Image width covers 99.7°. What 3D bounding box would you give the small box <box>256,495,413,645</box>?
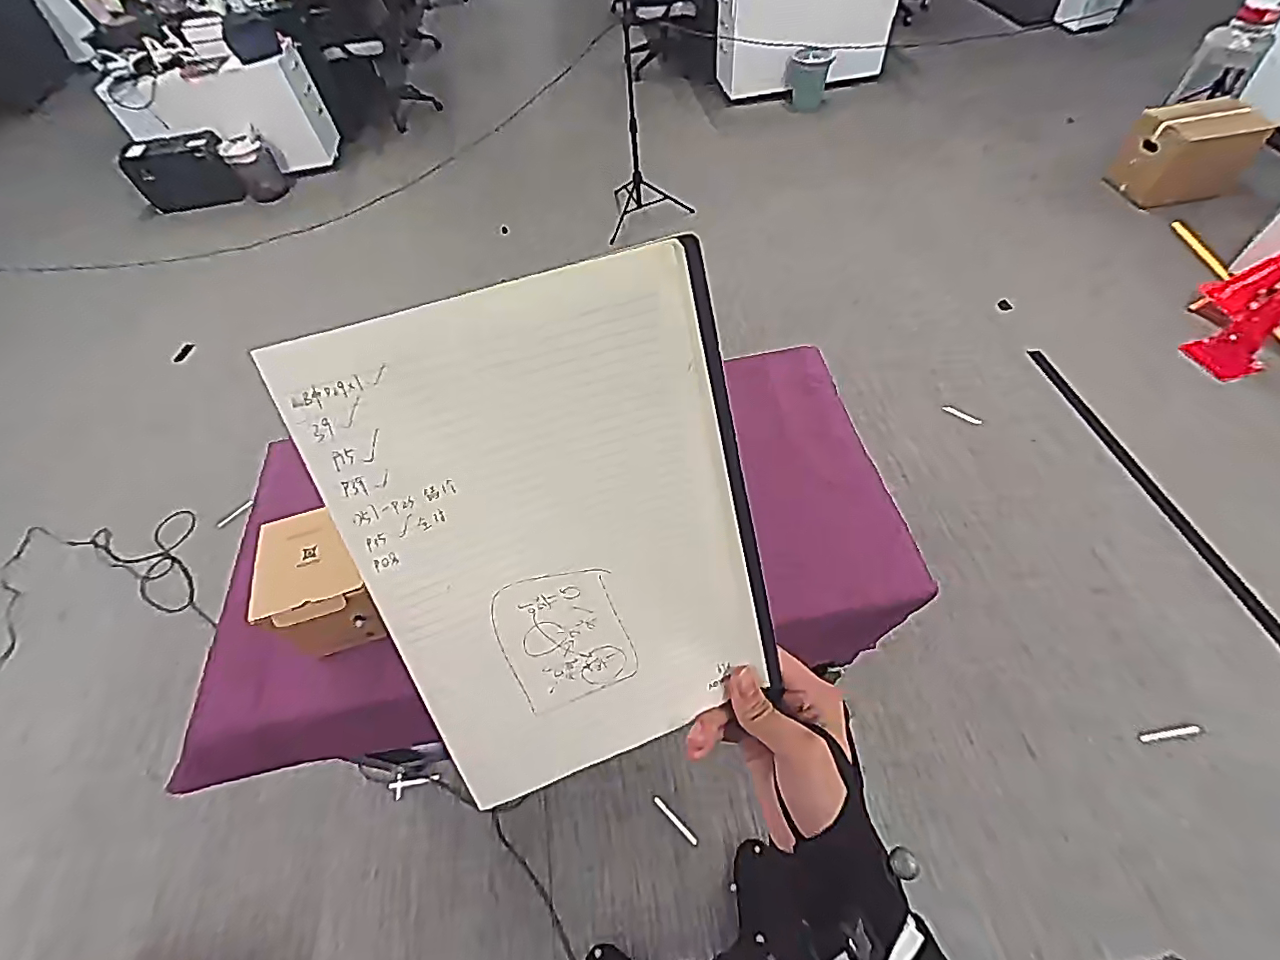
[{"bbox_3d":[-0.490,0.157,0.894,0.168,0.176,0.179,-16,55,-6],"label":"small box"}]
